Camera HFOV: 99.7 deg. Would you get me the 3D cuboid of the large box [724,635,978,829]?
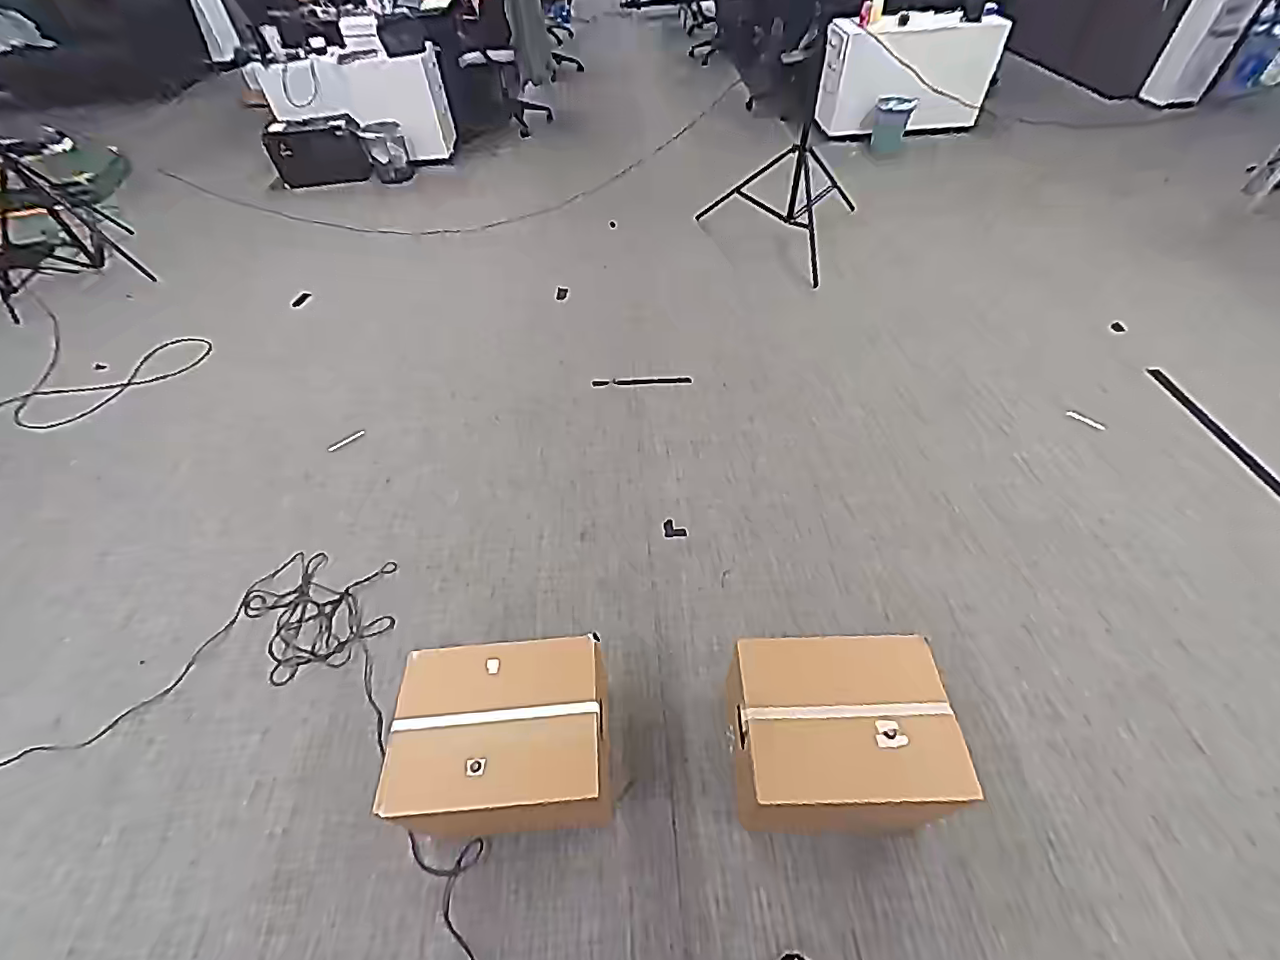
[{"bbox_3d":[0.413,0.554,1.184,0.408,0.320,0.320,-1,50,1],"label":"large box"}]
